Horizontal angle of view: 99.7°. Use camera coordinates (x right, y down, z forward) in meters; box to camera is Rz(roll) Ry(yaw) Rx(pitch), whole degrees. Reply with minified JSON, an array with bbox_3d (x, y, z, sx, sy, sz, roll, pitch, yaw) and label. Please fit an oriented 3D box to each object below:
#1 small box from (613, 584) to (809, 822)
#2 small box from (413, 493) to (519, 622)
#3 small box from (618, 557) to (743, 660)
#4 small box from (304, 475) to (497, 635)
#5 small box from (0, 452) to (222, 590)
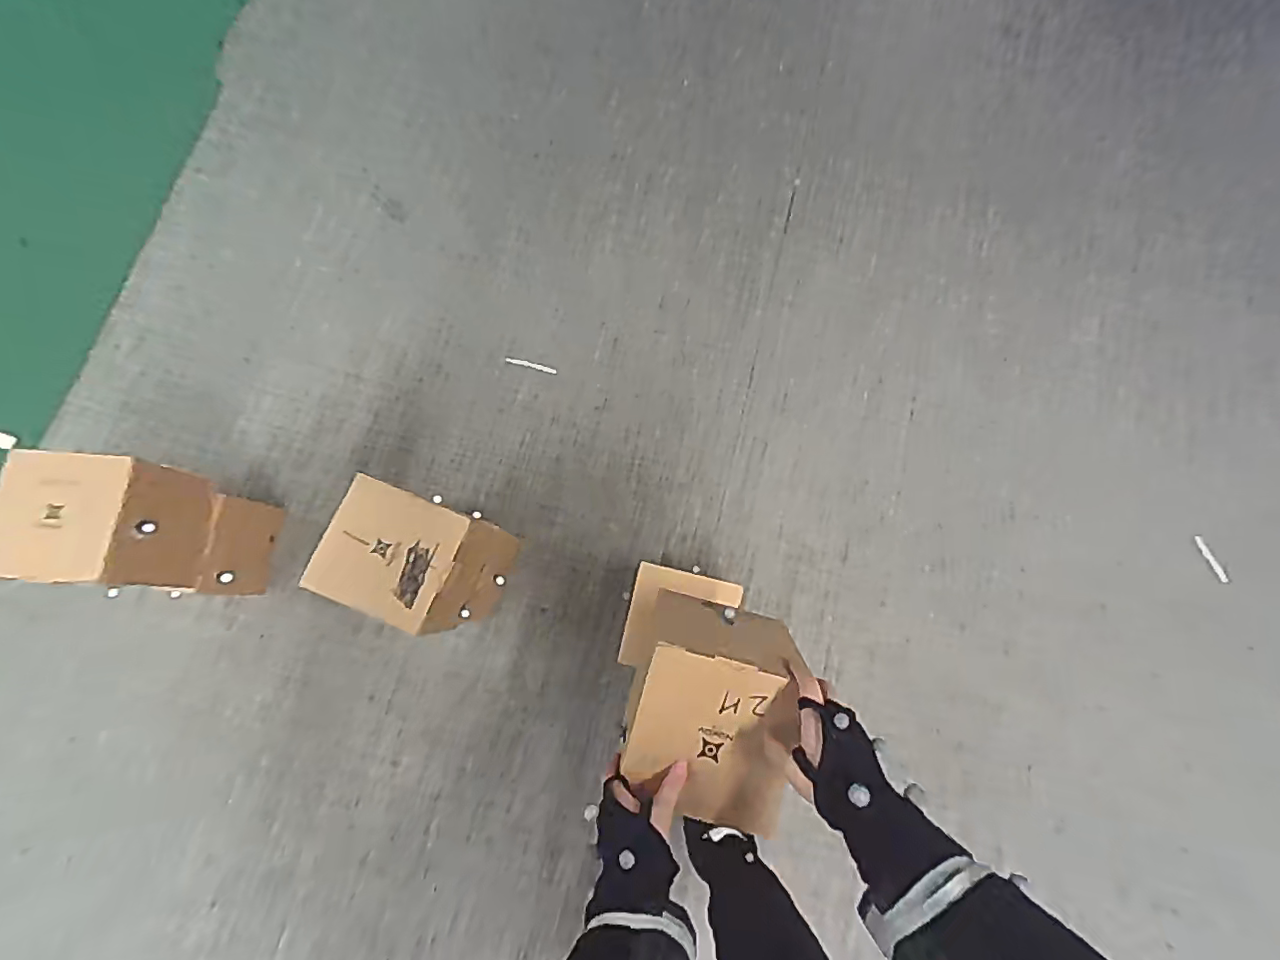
[{"bbox_3d":[0.076,0.245,0.633,0.168,0.176,0.179,15,97,1],"label":"small box"},{"bbox_3d":[-0.335,0.139,0.961,0.179,0.176,0.168,21,78,3],"label":"small box"},{"bbox_3d":[0.065,0.241,0.949,0.179,0.176,0.168,13,78,1],"label":"small box"},{"bbox_3d":[-0.335,0.112,0.798,0.179,0.176,0.168,22,79,5],"label":"small box"},{"bbox_3d":[-0.771,0.069,0.801,0.168,0.176,0.179,4,77,-1],"label":"small box"}]
